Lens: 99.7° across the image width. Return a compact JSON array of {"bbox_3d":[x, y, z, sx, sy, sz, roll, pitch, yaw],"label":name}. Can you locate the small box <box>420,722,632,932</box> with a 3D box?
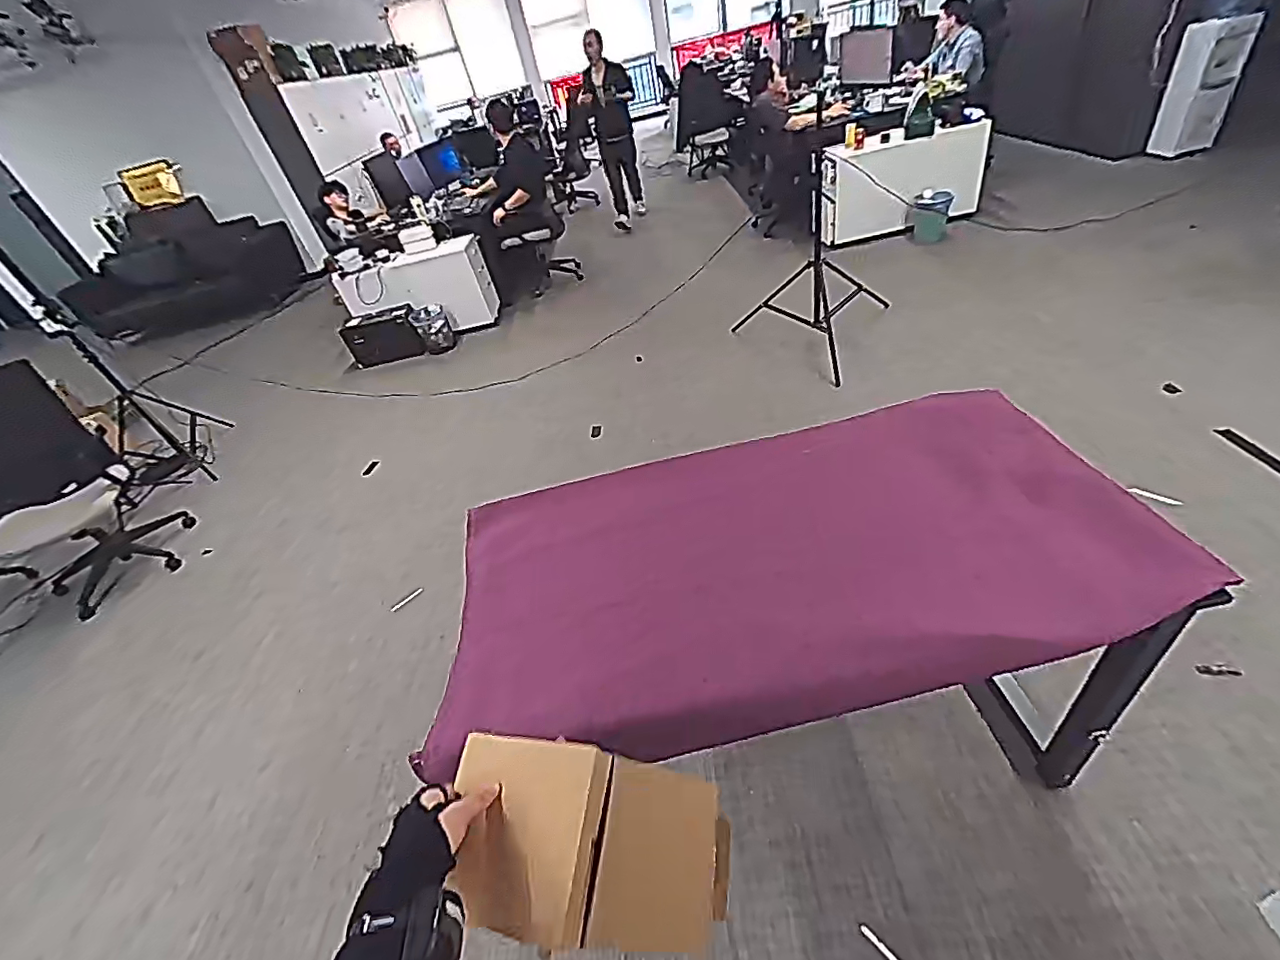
[{"bbox_3d":[-0.112,0.396,0.630,0.179,0.176,0.168,3,55,11],"label":"small box"}]
